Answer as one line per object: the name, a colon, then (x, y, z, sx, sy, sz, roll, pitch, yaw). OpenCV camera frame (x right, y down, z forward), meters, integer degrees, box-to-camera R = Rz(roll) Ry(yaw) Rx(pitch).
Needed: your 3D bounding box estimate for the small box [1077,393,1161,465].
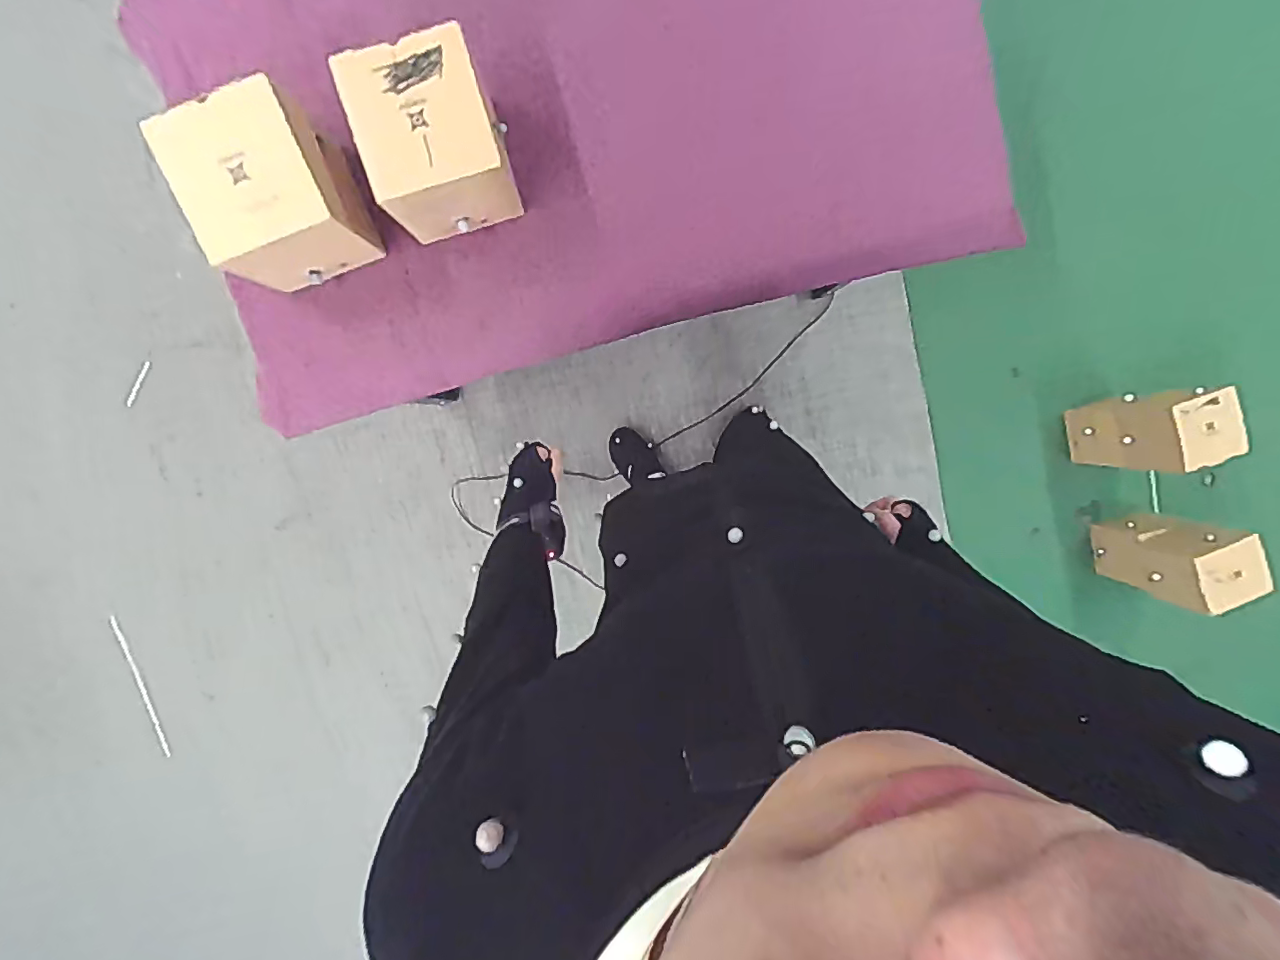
small box: (1.397, -0.146, 1.545, 0.179, 0.176, 0.168, -16, 96, 0)

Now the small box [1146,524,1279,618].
small box: (1.509, 0.230, 1.425, 0.179, 0.176, 0.168, -23, 96, 2)

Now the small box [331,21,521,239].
small box: (-0.277, -0.462, 0.742, 0.168, 0.176, 0.179, -16, 98, 1)

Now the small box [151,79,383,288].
small box: (-0.494, -0.391, 0.747, 0.168, 0.176, 0.179, -20, 98, 2)

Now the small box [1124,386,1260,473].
small box: (1.400, -0.132, 1.382, 0.168, 0.176, 0.179, -18, 97, 0)
